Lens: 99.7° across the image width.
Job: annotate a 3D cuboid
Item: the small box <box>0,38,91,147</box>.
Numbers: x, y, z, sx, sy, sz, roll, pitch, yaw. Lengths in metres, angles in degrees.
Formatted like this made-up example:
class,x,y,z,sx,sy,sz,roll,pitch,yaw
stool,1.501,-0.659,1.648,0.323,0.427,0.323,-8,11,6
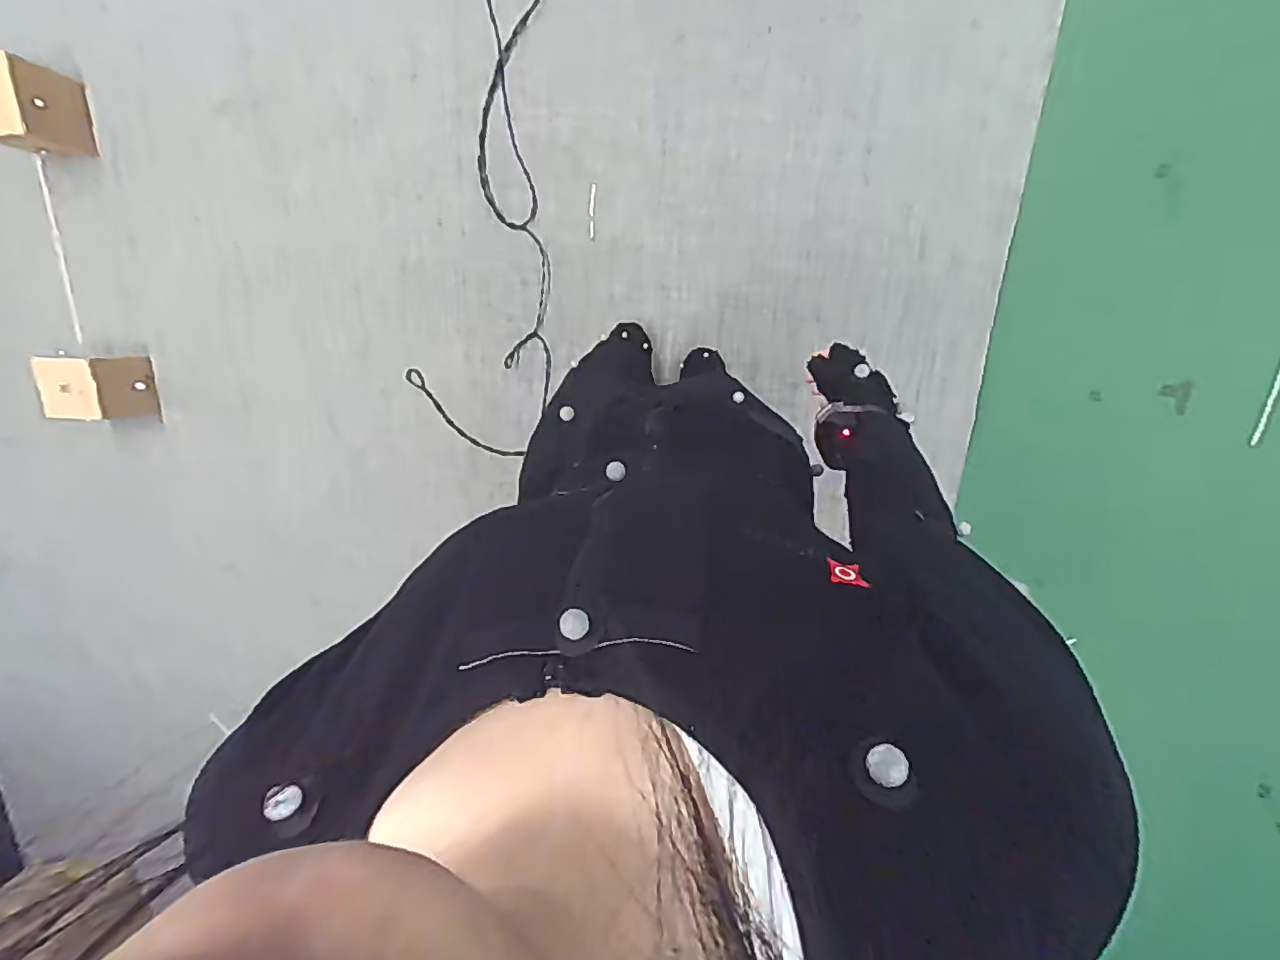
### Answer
class,x,y,z,sx,sy,sz,roll,pitch,yaw
small box,-1.518,-0.941,1.322,0.168,0.176,0.179,3,107,5

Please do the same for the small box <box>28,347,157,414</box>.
class,x,y,z,sx,sy,sz,roll,pitch,yaw
small box,-1.525,-0.283,1.516,0.179,0.176,0.168,3,107,5
